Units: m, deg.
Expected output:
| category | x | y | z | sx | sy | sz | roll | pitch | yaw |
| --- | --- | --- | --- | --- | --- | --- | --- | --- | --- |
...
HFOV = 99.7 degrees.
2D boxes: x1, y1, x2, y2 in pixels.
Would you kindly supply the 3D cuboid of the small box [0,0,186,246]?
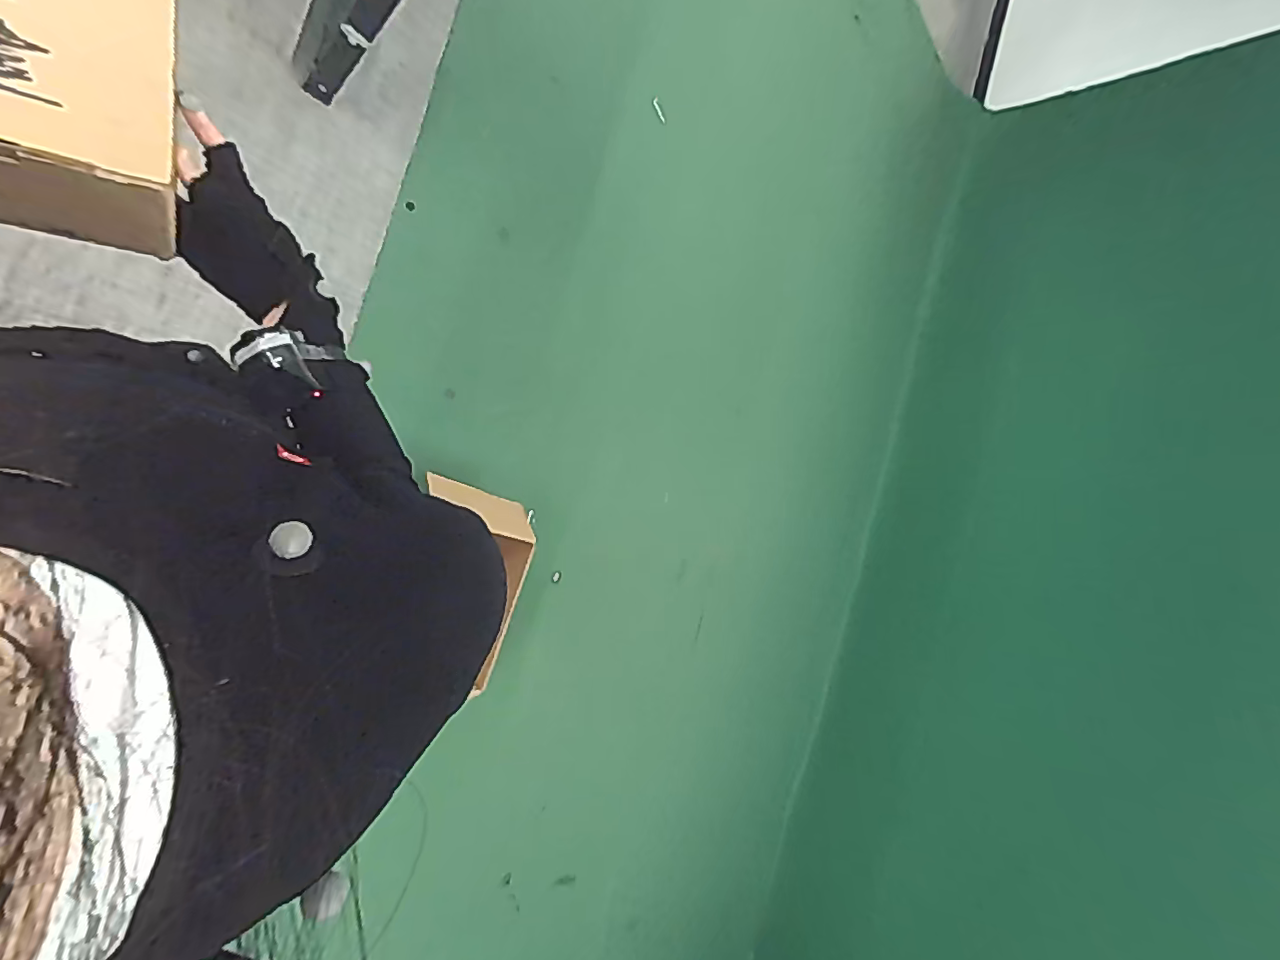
| category | x | y | z | sx | sy | sz | roll | pitch | yaw |
| --- | --- | --- | --- | --- | --- | --- | --- | --- | --- |
| small box | -0.385 | -0.265 | 0.327 | 0.168 | 0.176 | 0.179 | 1 | 93 | -41 |
